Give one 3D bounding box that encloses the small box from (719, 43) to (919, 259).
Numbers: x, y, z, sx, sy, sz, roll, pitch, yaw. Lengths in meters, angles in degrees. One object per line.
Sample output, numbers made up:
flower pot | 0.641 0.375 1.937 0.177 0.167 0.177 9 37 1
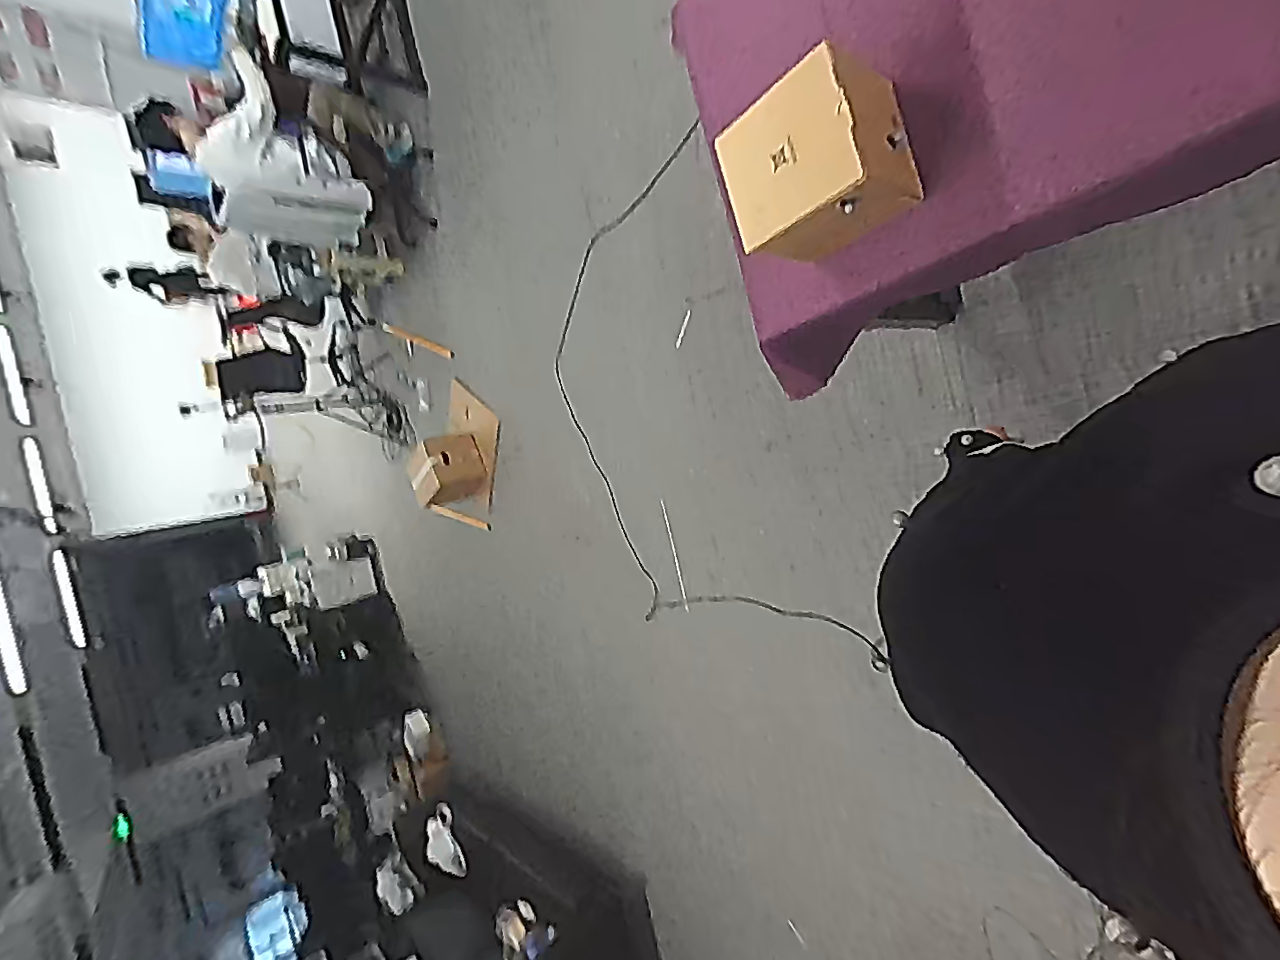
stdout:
small box | 0.241 -0.420 0.731 0.179 0.176 0.168 -18 86 48
